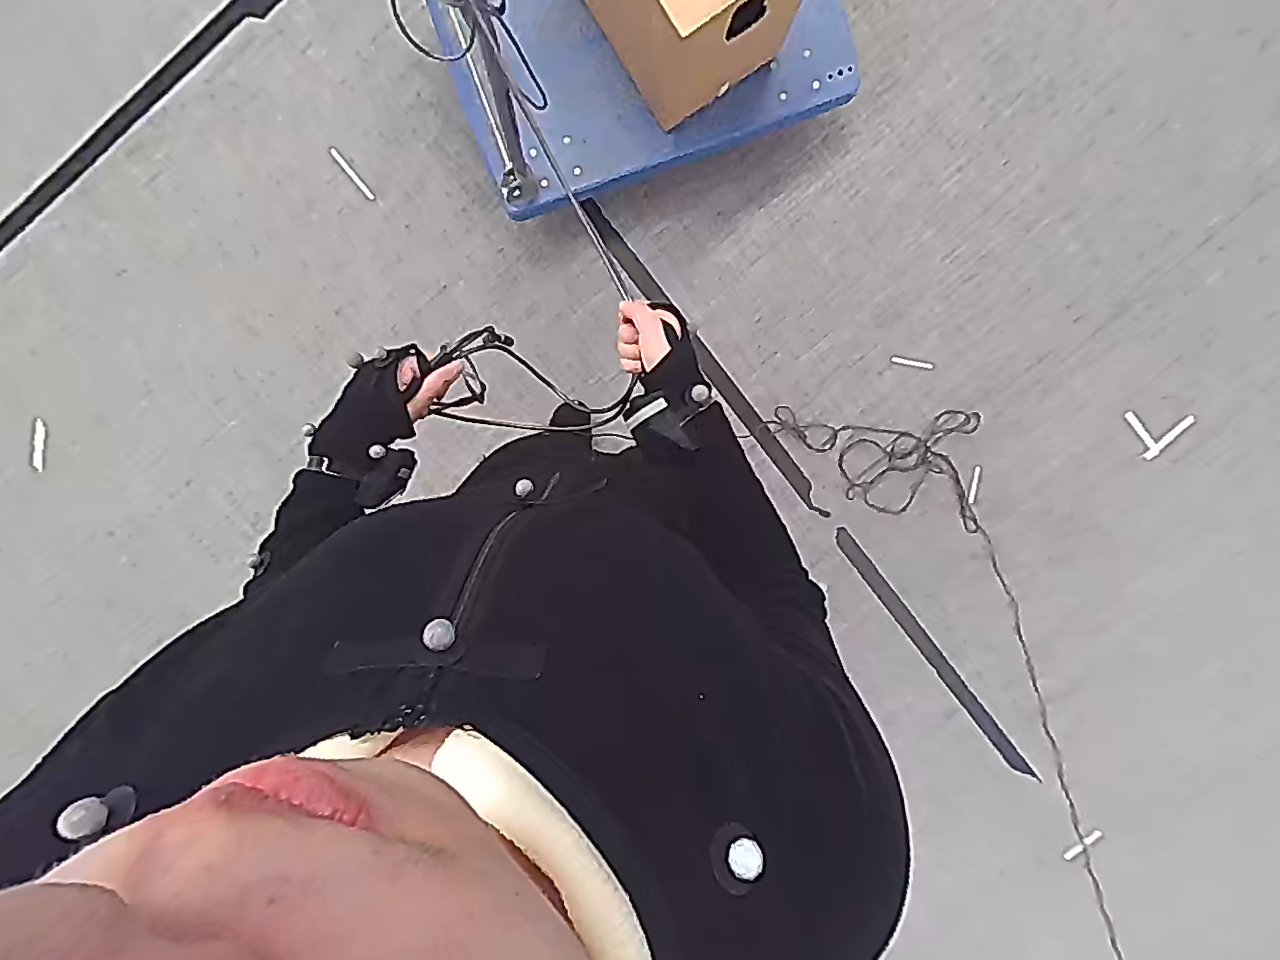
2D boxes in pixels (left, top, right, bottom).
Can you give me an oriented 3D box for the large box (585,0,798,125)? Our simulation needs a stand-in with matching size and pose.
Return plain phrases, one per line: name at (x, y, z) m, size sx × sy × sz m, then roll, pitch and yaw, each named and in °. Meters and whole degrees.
large box at (0.077, -1.020, 1.039) m, size 0.320 × 0.320 × 0.408 m, roll -35°, pitch 98°, yaw 2°
